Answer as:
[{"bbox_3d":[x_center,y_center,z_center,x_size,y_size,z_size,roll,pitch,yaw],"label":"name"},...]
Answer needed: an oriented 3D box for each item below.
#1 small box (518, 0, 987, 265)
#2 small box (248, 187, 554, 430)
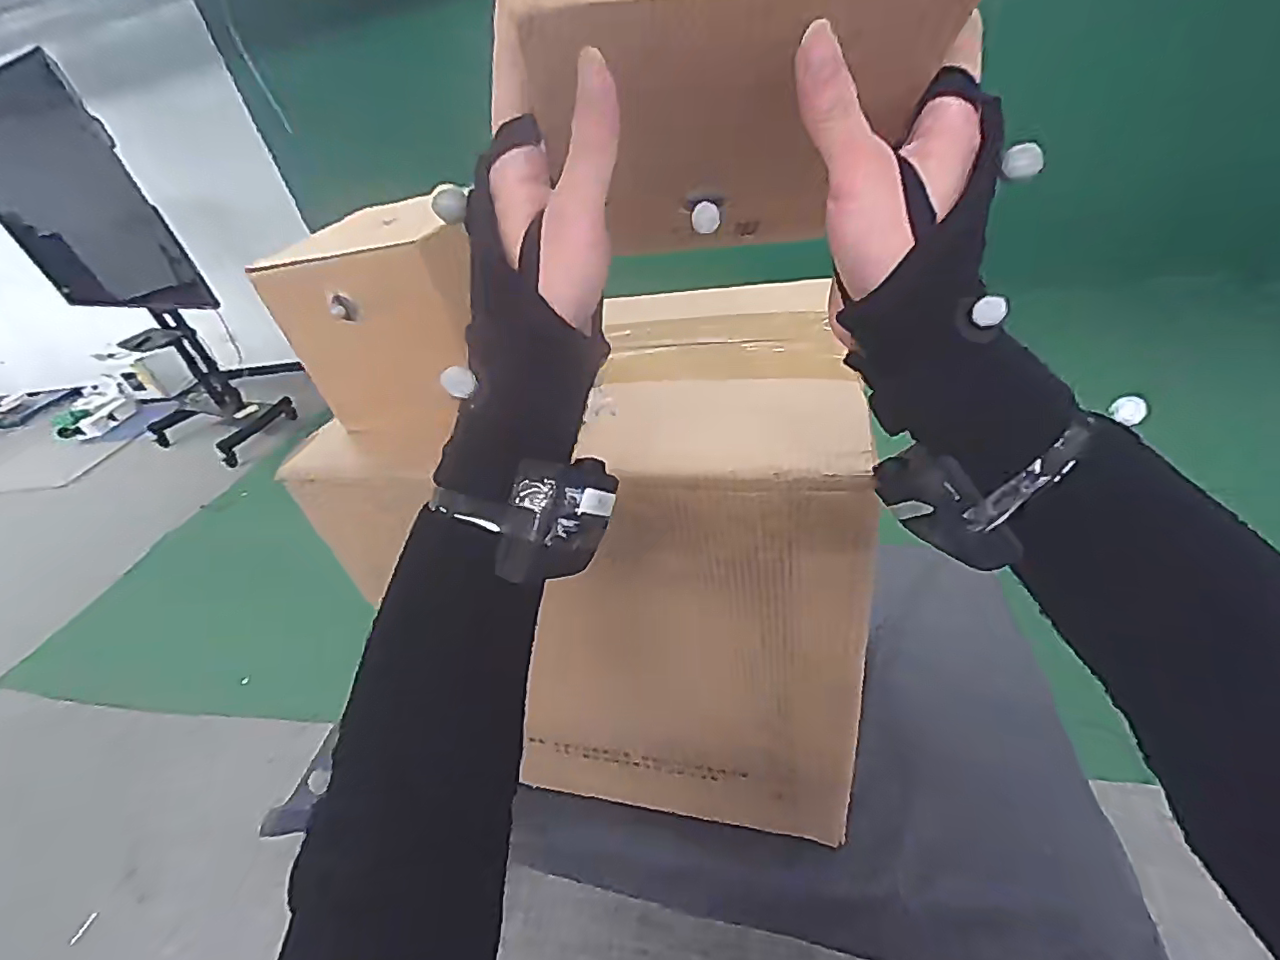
[{"bbox_3d":[0.036,-0.234,0.268,0.168,0.179,0.176,-4,-7,2],"label":"small box"},{"bbox_3d":[-0.207,-0.161,0.522,0.179,0.176,0.168,1,42,16],"label":"small box"}]
